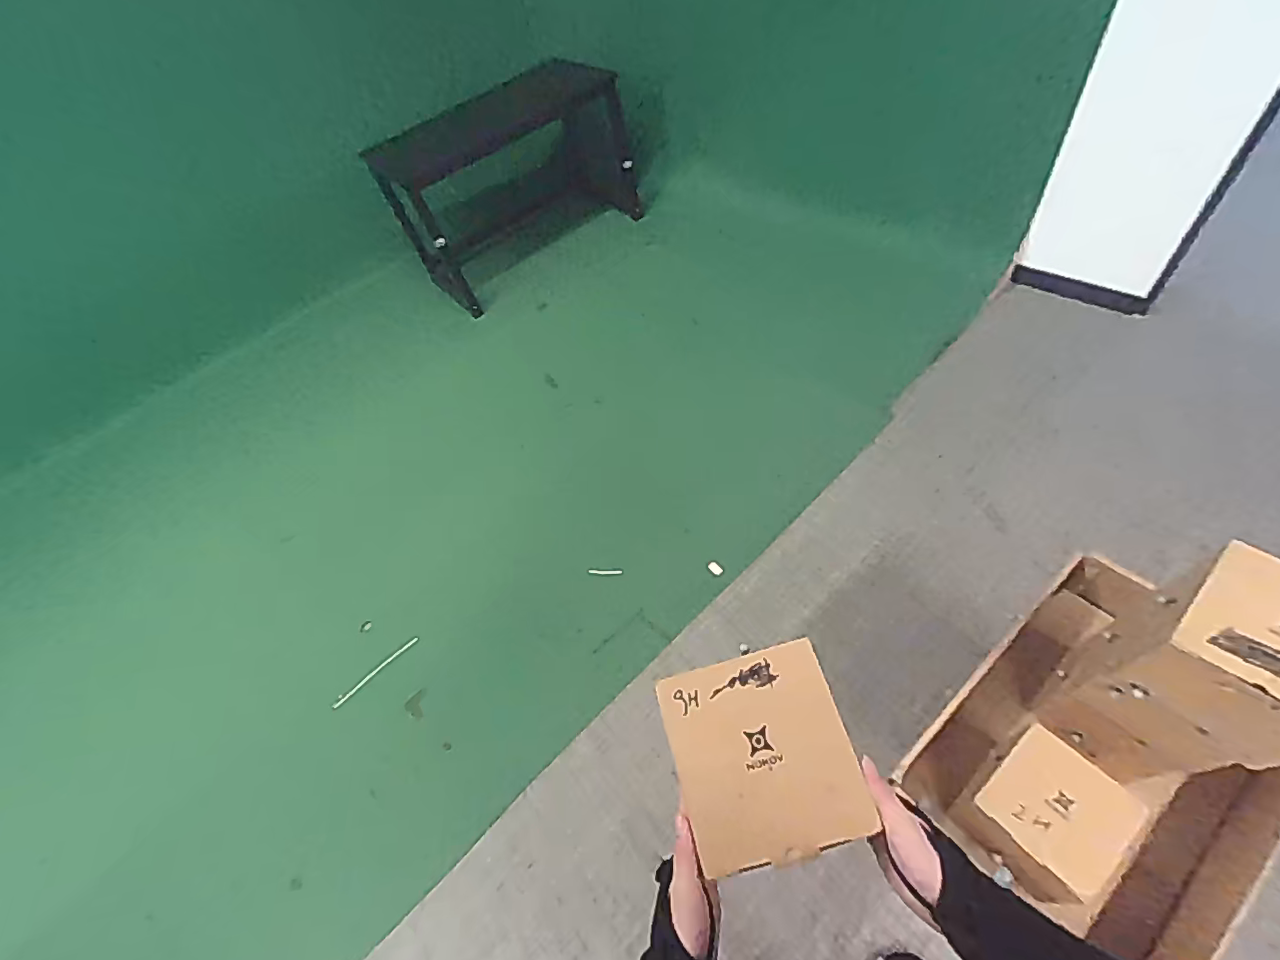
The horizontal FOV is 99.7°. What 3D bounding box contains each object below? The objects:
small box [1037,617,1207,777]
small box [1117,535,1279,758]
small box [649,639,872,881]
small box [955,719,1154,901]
[{"bbox_3d":[0.833,0.375,0.931,0.179,0.176,0.168,-42,55,-13],"label":"small box"},{"bbox_3d":[0.741,0.208,0.663,0.179,0.176,0.168,-43,56,-15],"label":"small box"},{"bbox_3d":[0.119,0.287,0.582,0.168,0.176,0.179,-17,65,2],"label":"small box"},{"bbox_3d":[0.641,0.524,0.861,0.179,0.176,0.168,-38,53,-16],"label":"small box"}]
